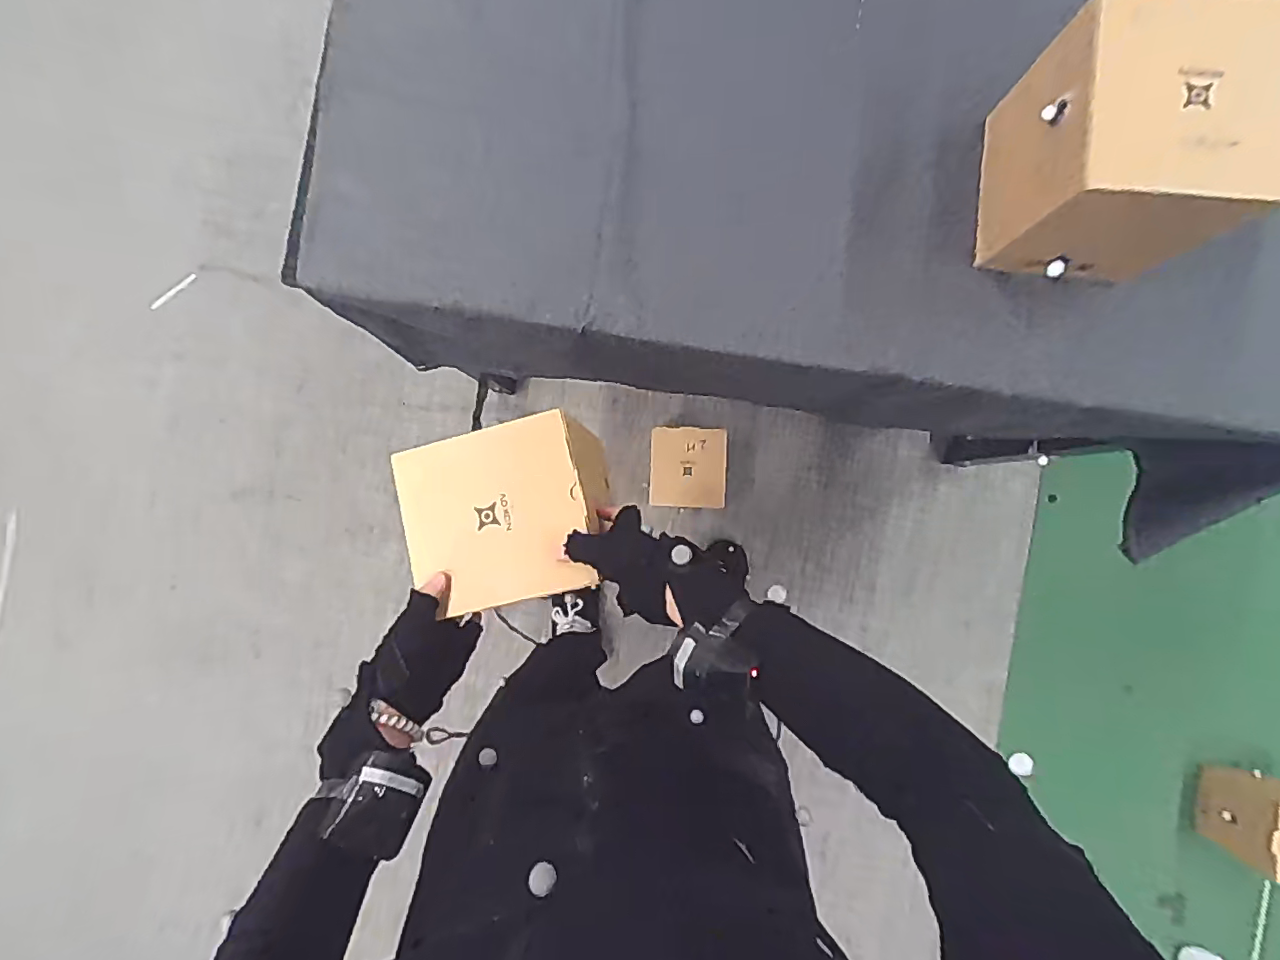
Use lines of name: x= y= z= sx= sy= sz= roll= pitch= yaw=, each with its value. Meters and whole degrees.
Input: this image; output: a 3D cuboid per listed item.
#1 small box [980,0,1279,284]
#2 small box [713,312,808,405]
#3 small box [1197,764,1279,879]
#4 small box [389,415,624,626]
small box: x=0.455 y=-0.309 z=0.512 sx=0.168 sy=0.176 sz=0.179 roll=6 pitch=89 yaw=3
small box: x=0.270 y=-0.271 z=1.243 sx=0.179 sy=0.176 sz=0.168 roll=7 pitch=89 yaw=3
small box: x=1.394 y=0.753 z=1.187 sx=0.179 sy=0.176 sz=0.168 roll=8 pitch=89 yaw=3
small box: x=-0.129 y=0.047 z=0.574 sx=0.179 sy=0.176 sz=0.168 roll=-14 pitch=82 yaw=6
